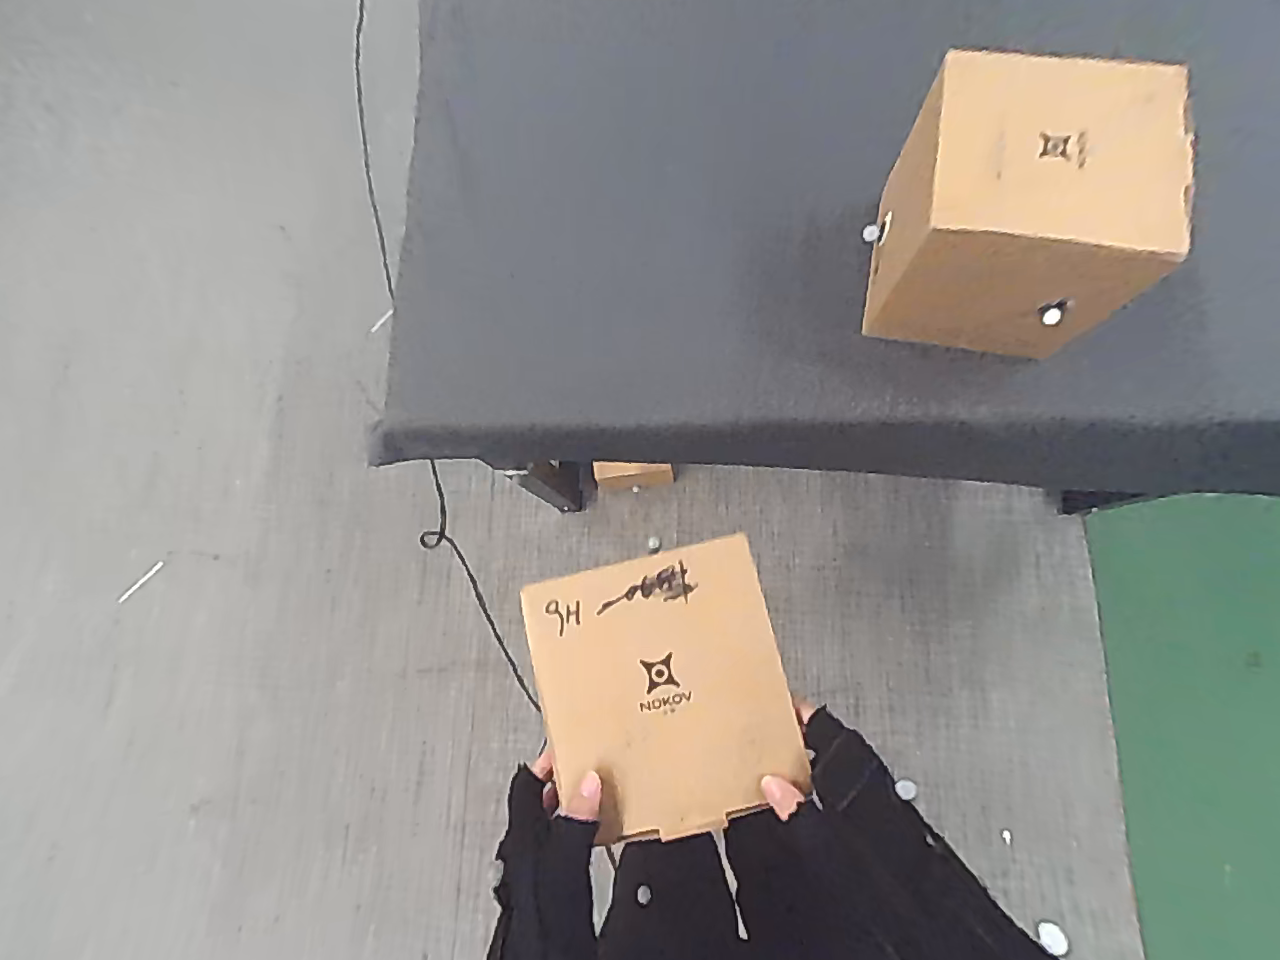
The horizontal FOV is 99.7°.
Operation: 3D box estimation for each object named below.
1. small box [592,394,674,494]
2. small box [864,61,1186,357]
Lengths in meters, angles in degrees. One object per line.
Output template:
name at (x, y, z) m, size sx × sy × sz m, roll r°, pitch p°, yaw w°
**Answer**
small box at (-0.012, -0.076, 1.229) m, size 0.168 × 0.176 × 0.179 m, roll -7°, pitch 78°, yaw 3°
small box at (0.324, -0.227, 0.487) m, size 0.179 × 0.176 × 0.168 m, roll 9°, pitch 77°, yaw 8°
